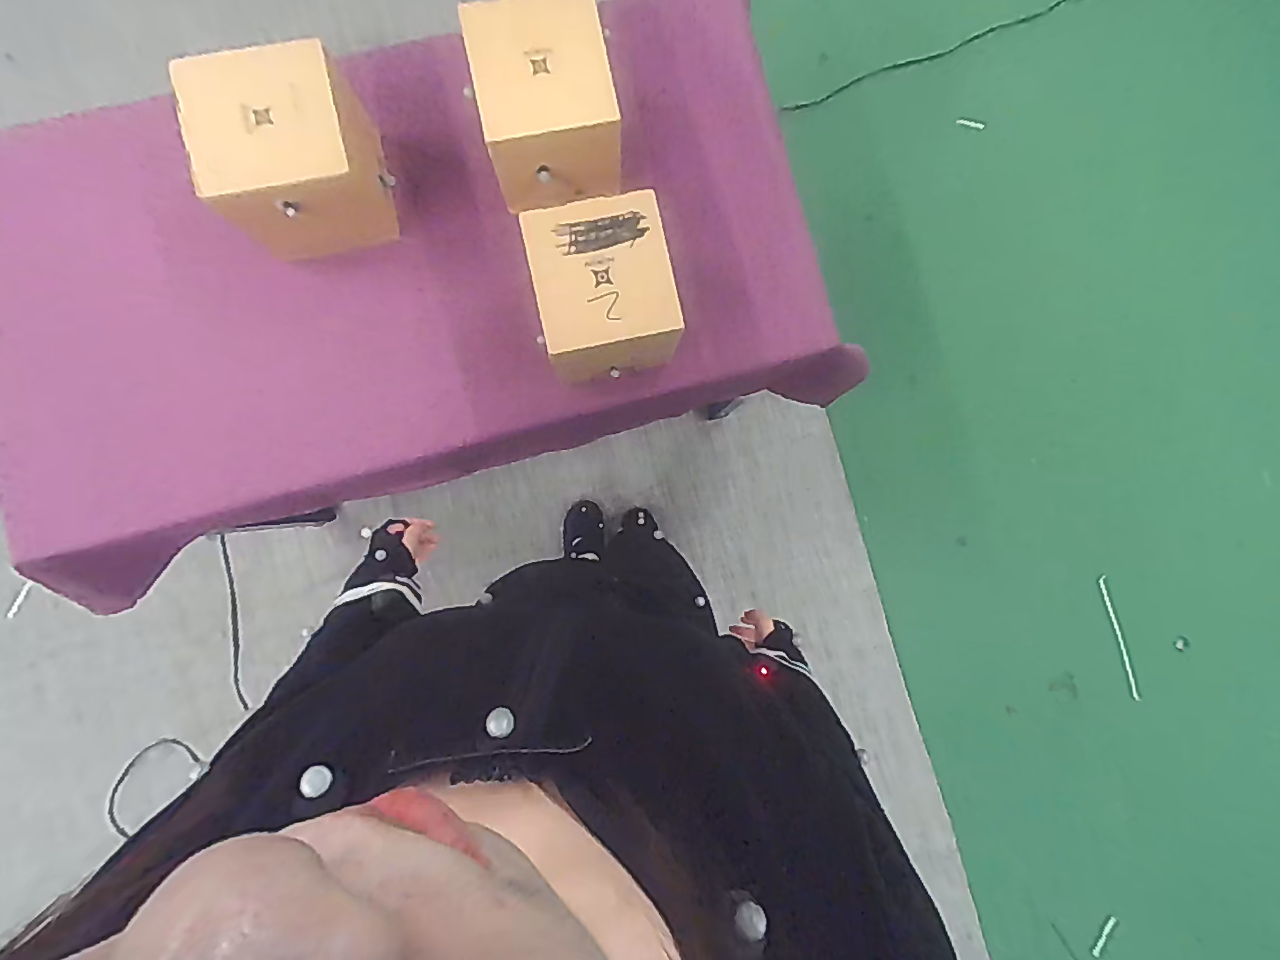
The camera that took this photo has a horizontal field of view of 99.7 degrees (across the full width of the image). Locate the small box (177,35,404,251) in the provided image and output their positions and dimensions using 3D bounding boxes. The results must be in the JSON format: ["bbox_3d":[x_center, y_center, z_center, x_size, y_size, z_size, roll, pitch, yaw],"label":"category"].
[{"bbox_3d":[-0.438,-0.421,0.705,0.179,0.176,0.168,-12,89,-4],"label":"small box"}]

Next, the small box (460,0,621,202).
[{"bbox_3d":[-0.120,-0.499,0.722,0.168,0.176,0.179,-12,88,-3],"label":"small box"}]
